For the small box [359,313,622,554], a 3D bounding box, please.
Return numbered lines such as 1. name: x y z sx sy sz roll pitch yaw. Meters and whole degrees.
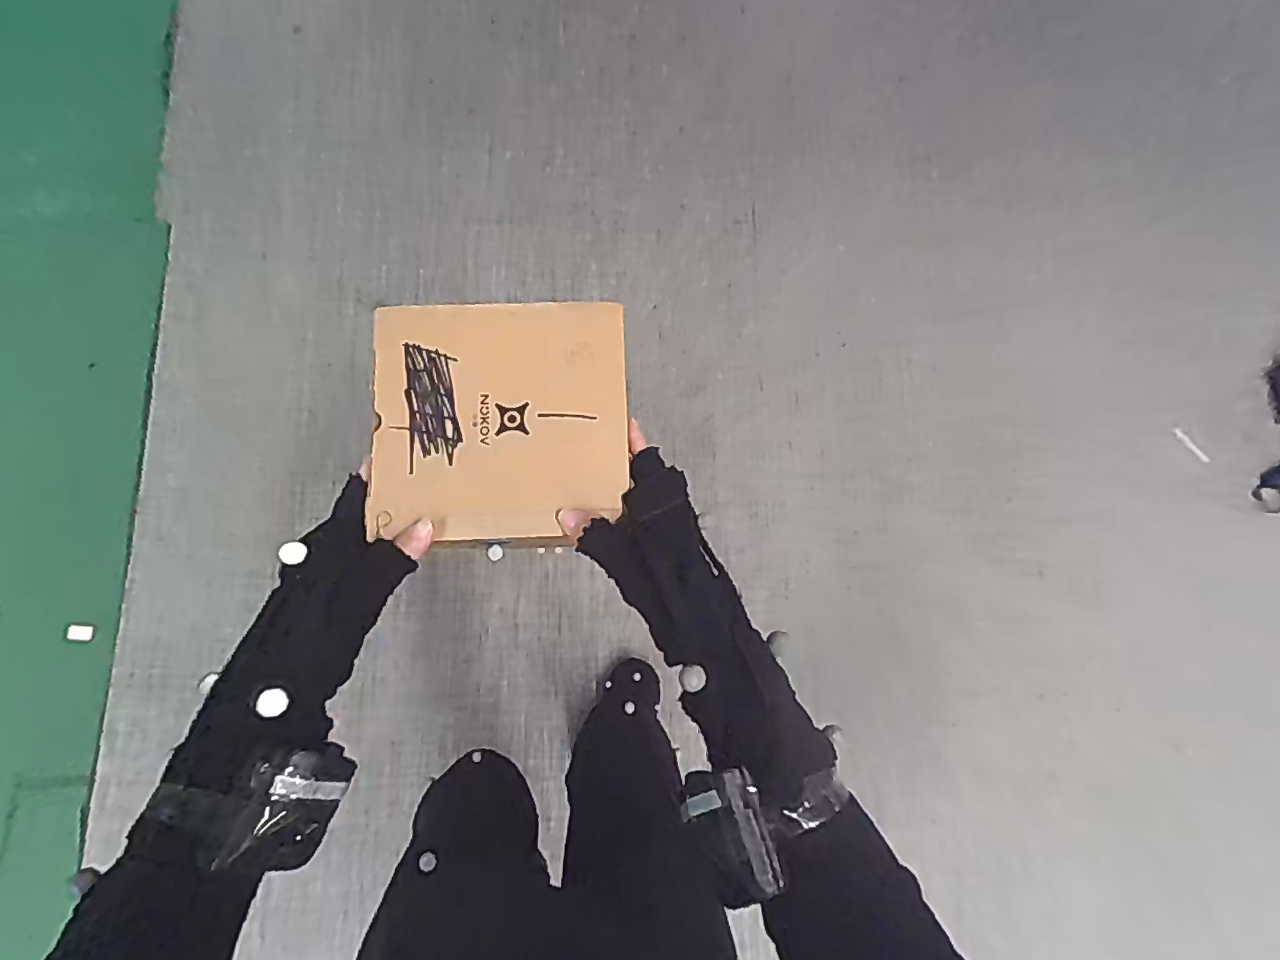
1. small box: -0.105 -0.025 0.453 0.179 0.176 0.168 -2 81 -2
